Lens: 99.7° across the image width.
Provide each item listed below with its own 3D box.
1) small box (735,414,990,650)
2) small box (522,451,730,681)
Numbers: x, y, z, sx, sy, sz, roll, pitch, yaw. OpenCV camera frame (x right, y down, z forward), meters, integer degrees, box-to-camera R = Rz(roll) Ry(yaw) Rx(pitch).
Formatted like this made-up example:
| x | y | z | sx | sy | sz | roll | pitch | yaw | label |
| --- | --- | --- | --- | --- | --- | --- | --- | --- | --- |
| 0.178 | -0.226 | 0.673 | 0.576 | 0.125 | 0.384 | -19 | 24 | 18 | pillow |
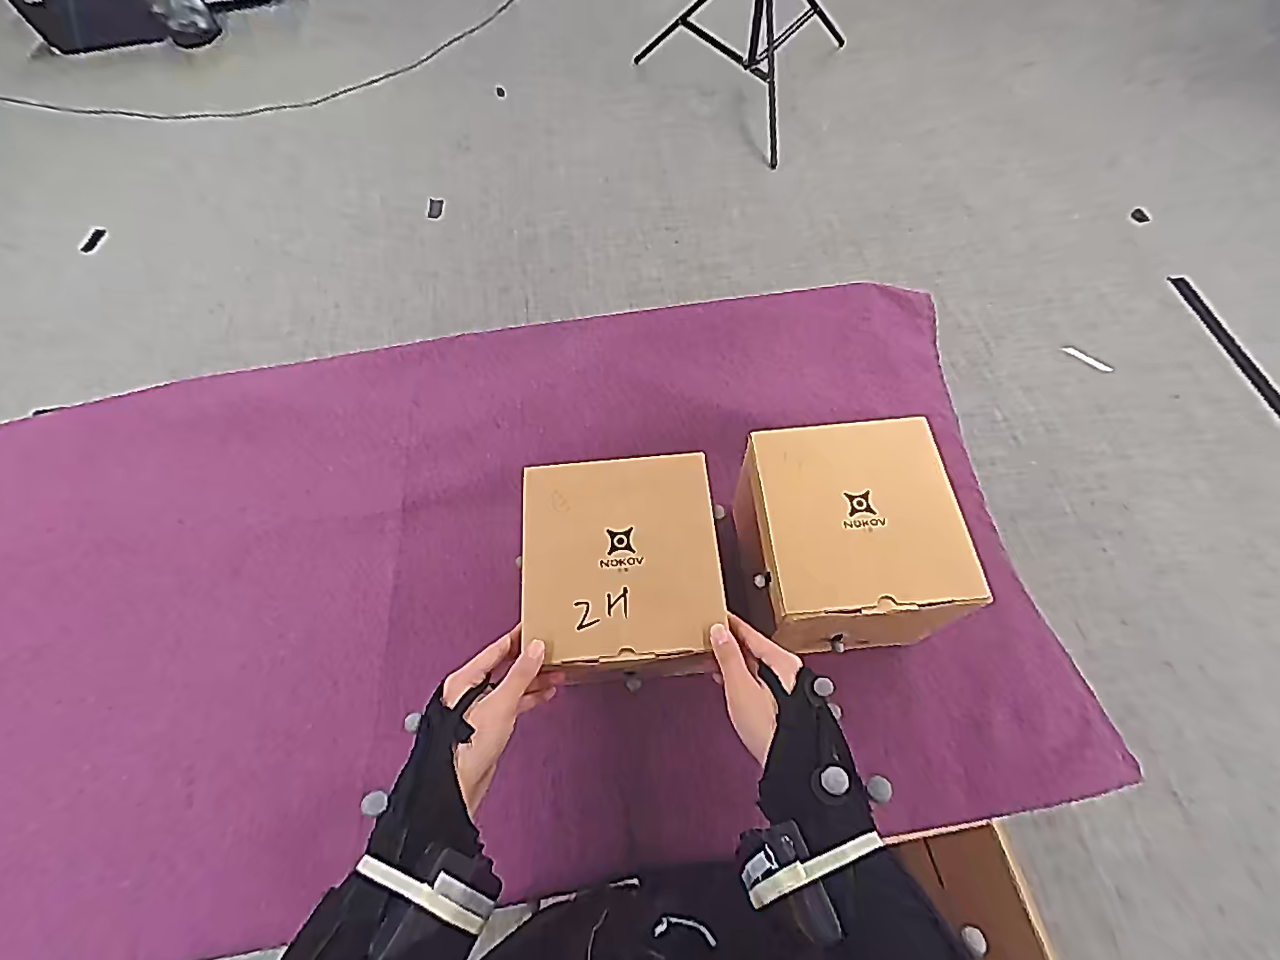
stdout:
| x | y | z | sx | sy | sz | roll | pitch | yaw | label |
| --- | --- | --- | --- | --- | --- | --- | --- | --- | --- |
| 0.193 | 0.058 | 0.535 | 0.168 | 0.176 | 0.179 | -6 | 63 | 1 | small box |
| -0.014 | 0.091 | 0.528 | 0.168 | 0.176 | 0.179 | -5 | 65 | 0 | small box |
